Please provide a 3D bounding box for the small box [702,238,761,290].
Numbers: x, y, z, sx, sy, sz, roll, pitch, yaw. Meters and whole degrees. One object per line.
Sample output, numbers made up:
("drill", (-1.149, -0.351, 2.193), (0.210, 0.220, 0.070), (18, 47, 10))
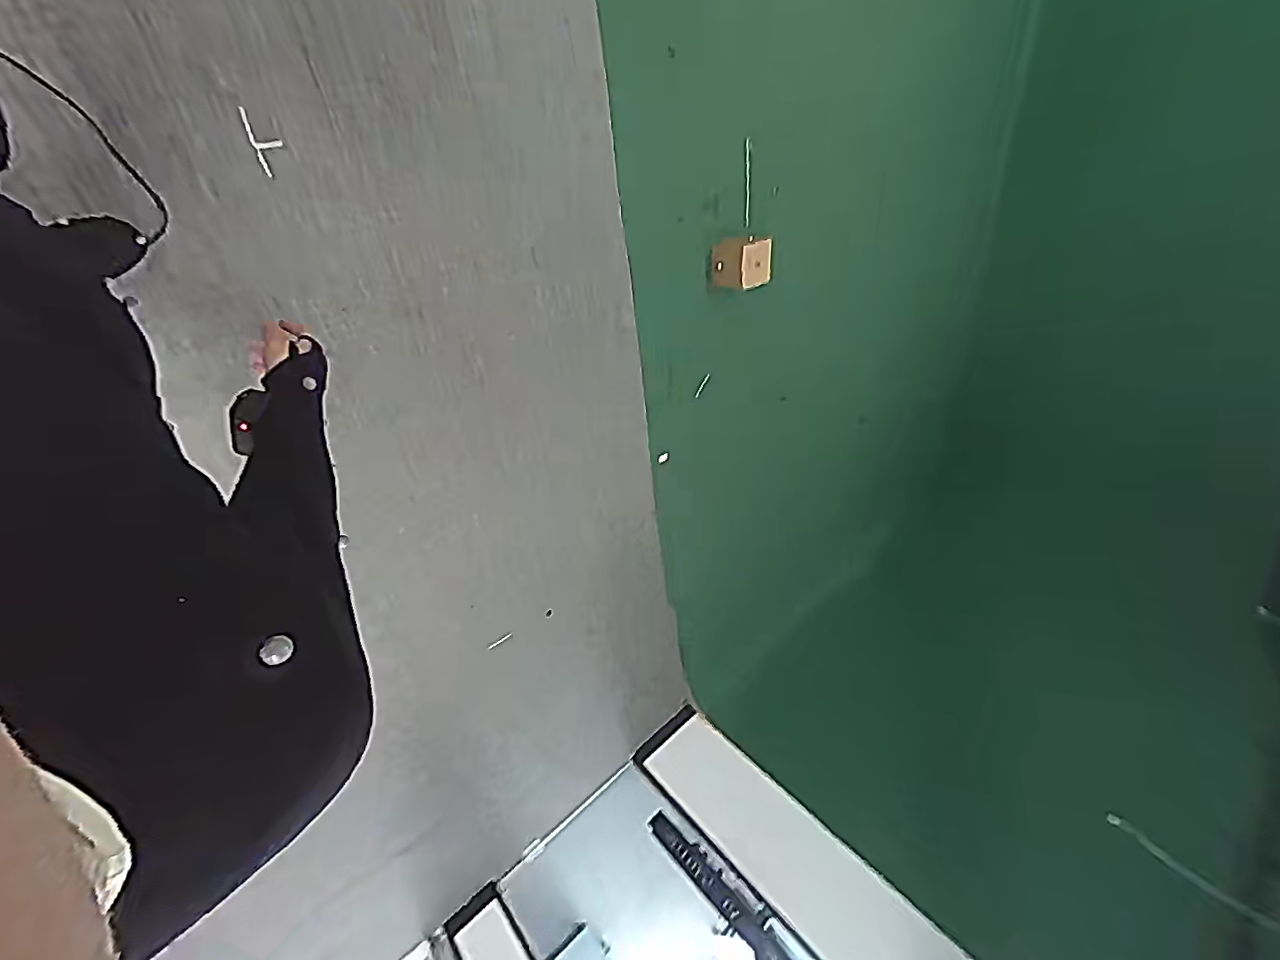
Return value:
("small box", (0.373, -0.887, 2.209), (0.179, 0.176, 0.168), (-29, 128, -31))
